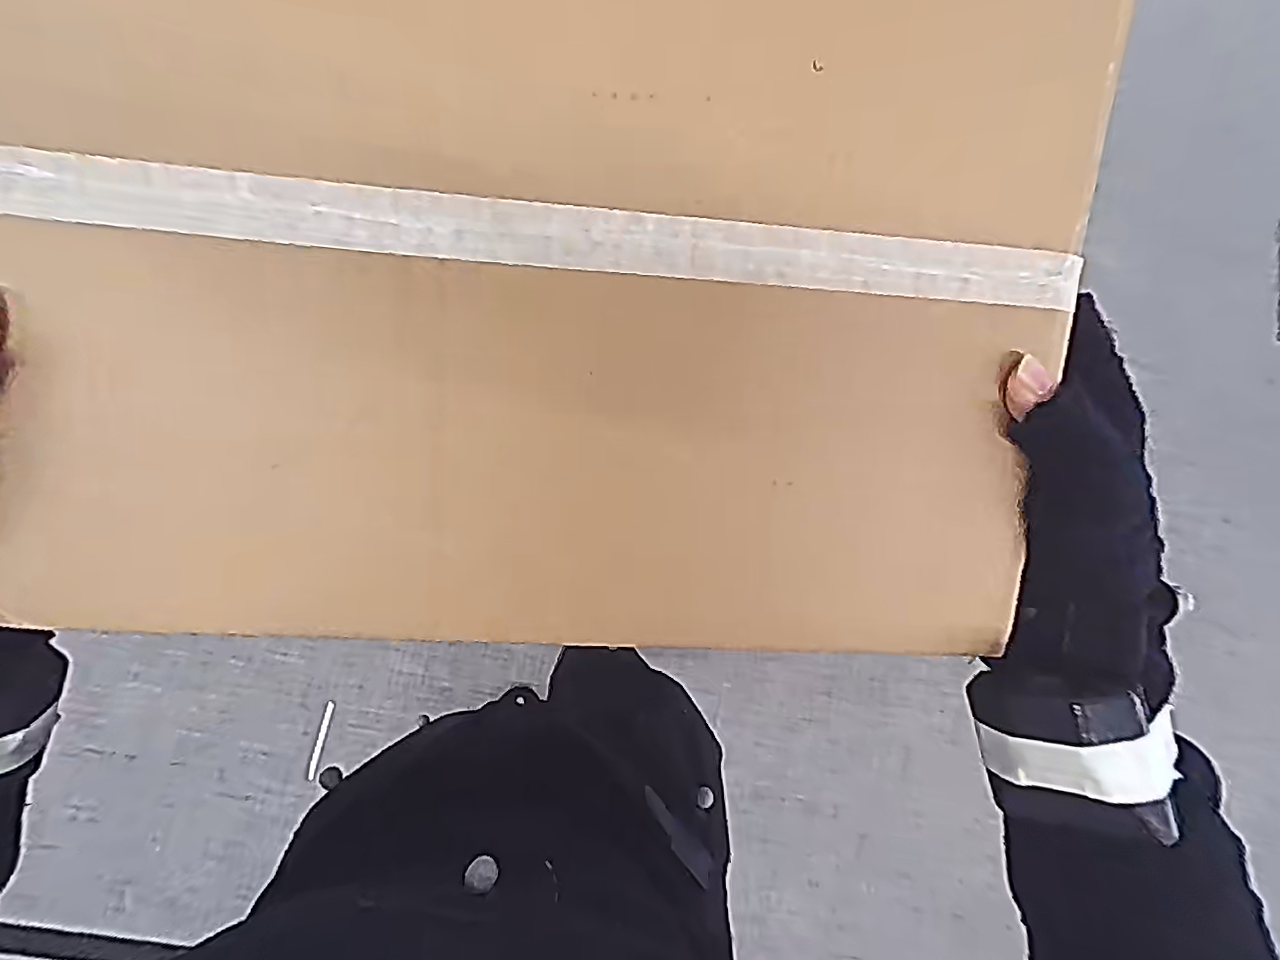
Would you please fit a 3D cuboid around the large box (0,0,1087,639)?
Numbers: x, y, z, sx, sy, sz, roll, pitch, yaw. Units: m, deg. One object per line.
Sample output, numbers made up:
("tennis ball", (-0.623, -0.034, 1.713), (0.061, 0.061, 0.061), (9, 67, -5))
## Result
("large box", (-0.048, -0.113, 0.352), (0.408, 0.320, 0.320), (4, 99, -6))
